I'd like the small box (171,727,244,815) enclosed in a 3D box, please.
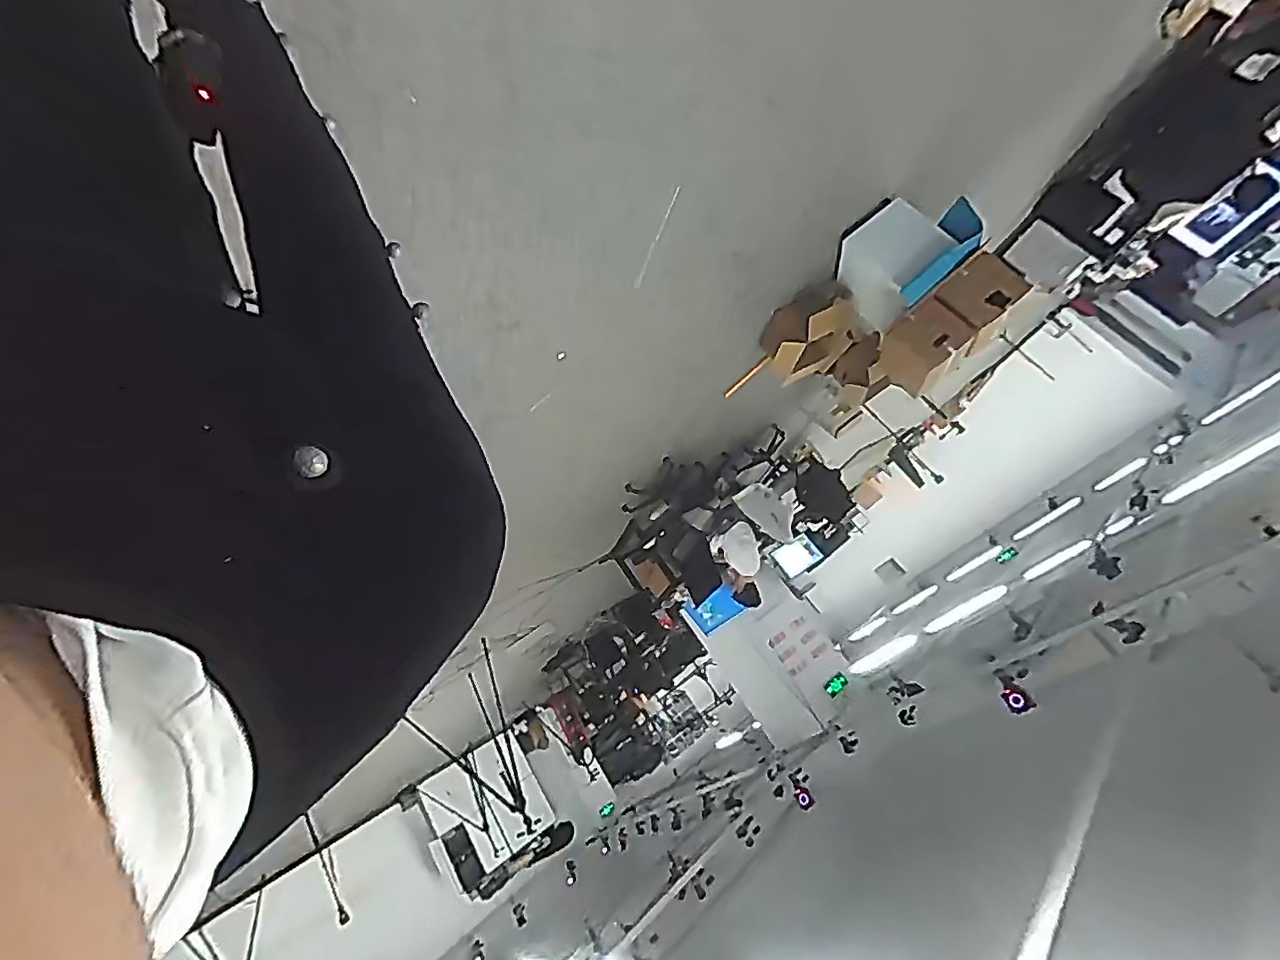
[{"bbox_3d":[-1.386,0.915,1.714,0.168,0.176,0.179,-18,153,-40],"label":"small box"}]

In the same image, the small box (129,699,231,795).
[{"bbox_3d":[-1.274,0.737,1.503,0.168,0.176,0.179,-21,155,-36],"label":"small box"}]
